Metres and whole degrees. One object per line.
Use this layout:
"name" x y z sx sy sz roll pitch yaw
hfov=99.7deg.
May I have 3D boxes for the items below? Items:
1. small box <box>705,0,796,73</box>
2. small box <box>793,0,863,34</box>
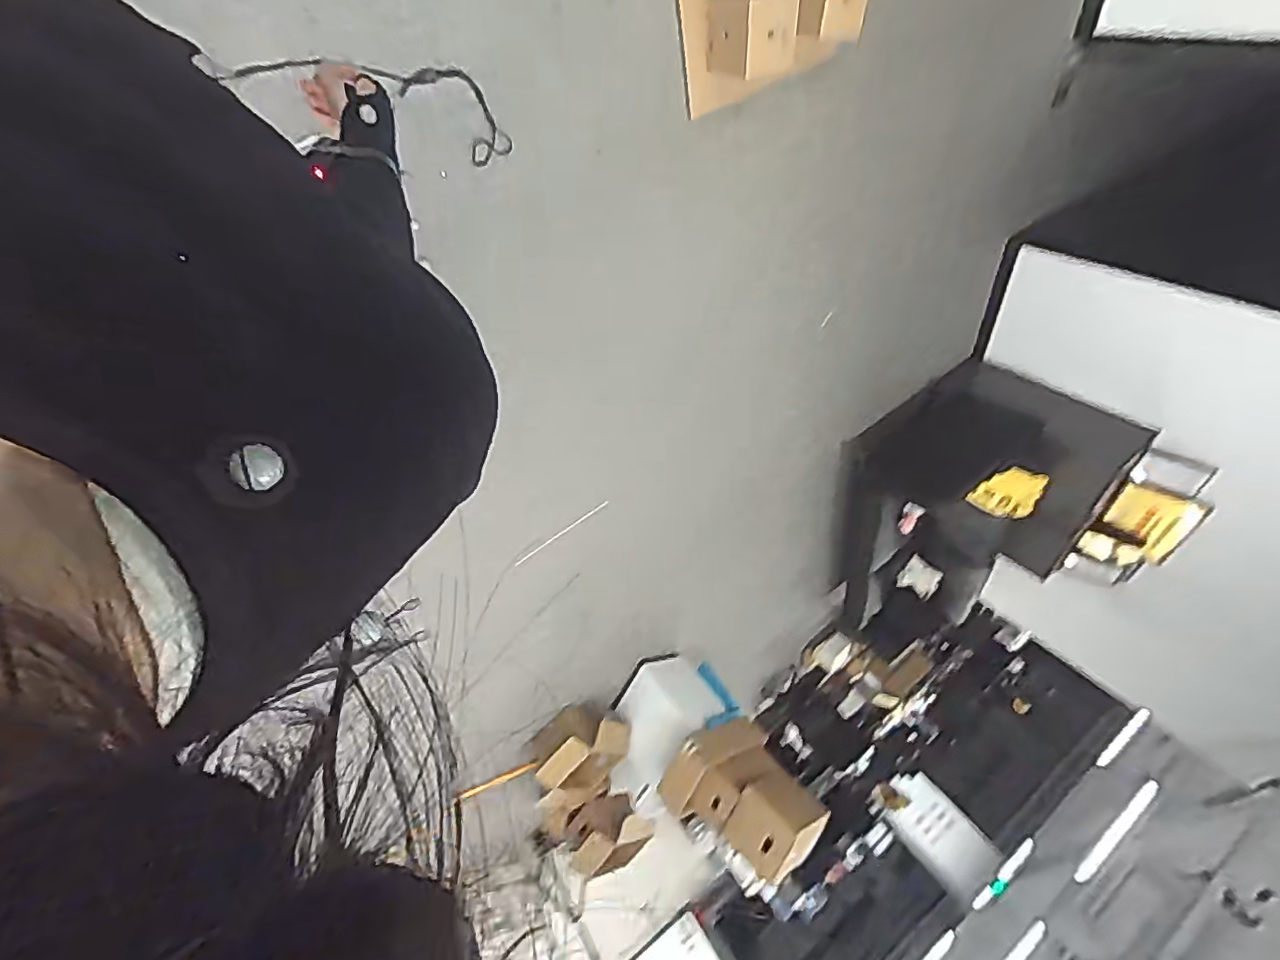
"small box" 0.290 -1.210 1.448 0.179 0.176 0.168 -29 140 -21
"small box" 0.509 -1.363 1.519 0.179 0.176 0.168 -25 138 -27
